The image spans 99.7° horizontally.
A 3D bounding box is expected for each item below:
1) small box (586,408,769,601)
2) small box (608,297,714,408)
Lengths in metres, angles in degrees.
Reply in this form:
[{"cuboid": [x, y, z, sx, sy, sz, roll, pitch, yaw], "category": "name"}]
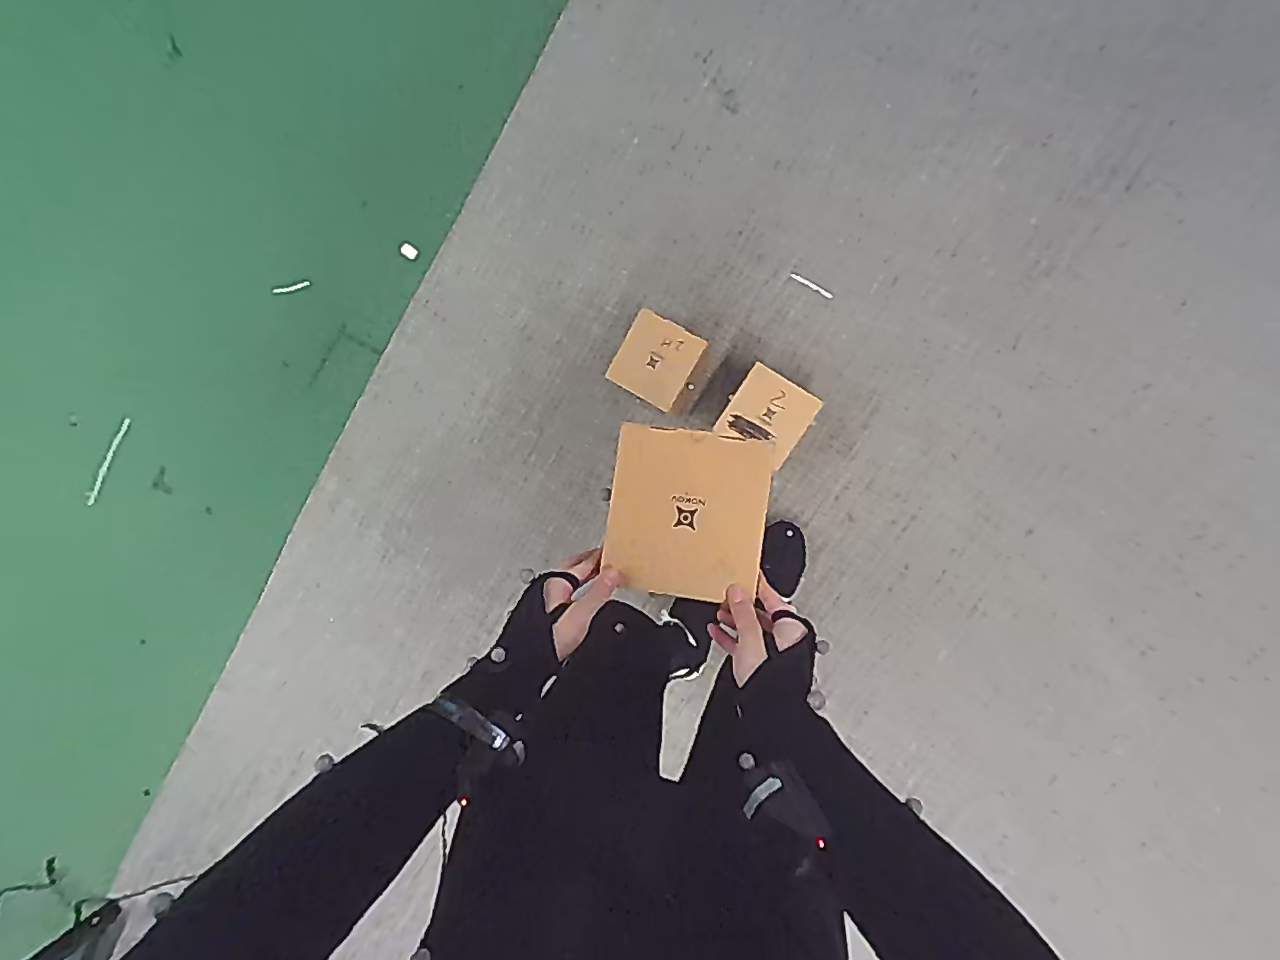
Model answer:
[{"cuboid": [0.044, 0.028, 0.628, 0.168, 0.176, 0.179, 9, 87, 4], "category": "small box"}, {"cuboid": [0.057, -0.278, 1.226, 0.168, 0.176, 0.179, 33, 99, 7], "category": "small box"}]
